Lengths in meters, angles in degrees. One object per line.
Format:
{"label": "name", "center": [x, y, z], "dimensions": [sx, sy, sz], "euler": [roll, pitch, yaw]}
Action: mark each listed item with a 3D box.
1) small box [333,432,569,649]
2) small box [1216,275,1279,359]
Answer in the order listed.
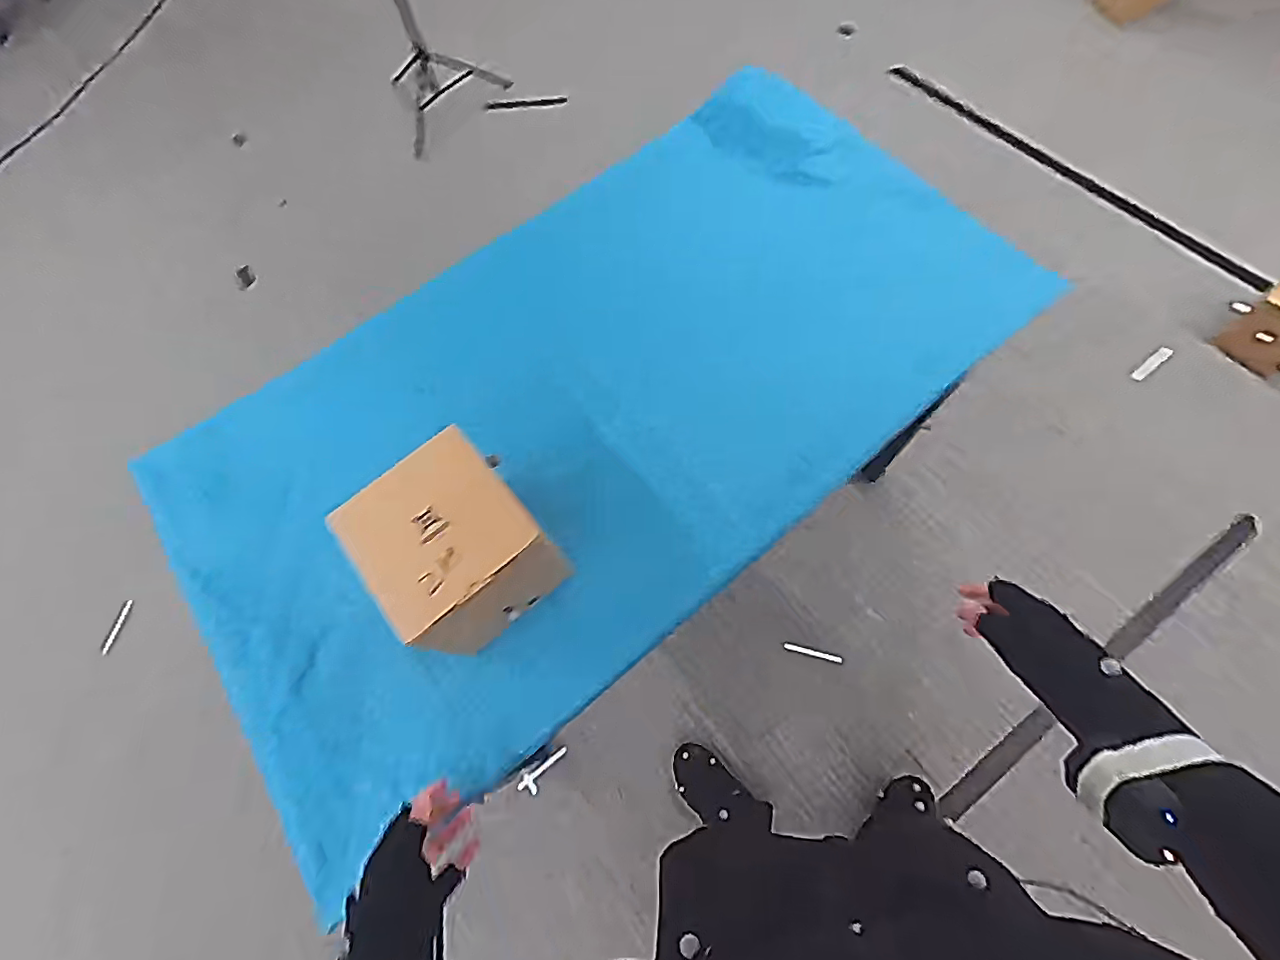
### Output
{"label": "small box", "center": [-0.208, 0.081, 0.635], "dimensions": [0.168, 0.176, 0.179], "euler": [-37, 72, -7]}
{"label": "small box", "center": [1.702, -0.441, 1.410], "dimensions": [0.168, 0.176, 0.179], "euler": [-36, 69, -8]}
